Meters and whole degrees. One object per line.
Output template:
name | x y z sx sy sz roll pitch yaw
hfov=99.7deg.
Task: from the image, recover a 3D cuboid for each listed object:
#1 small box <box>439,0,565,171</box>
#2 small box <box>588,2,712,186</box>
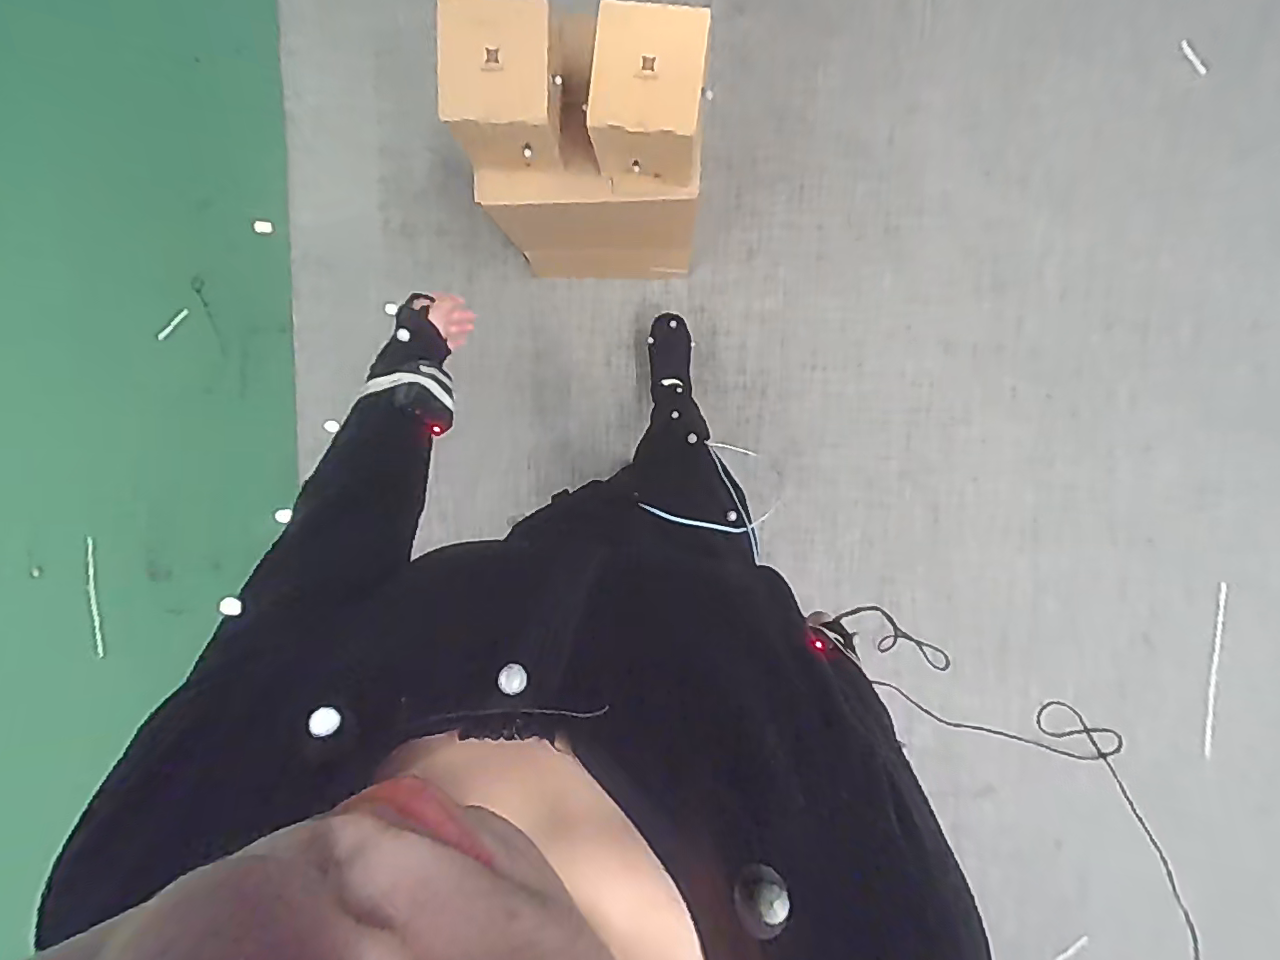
small box | -0.216 -0.630 0.882 0.168 0.176 0.179 2 97 0
small box | 0.018 -0.609 0.872 0.168 0.176 0.179 8 97 3
